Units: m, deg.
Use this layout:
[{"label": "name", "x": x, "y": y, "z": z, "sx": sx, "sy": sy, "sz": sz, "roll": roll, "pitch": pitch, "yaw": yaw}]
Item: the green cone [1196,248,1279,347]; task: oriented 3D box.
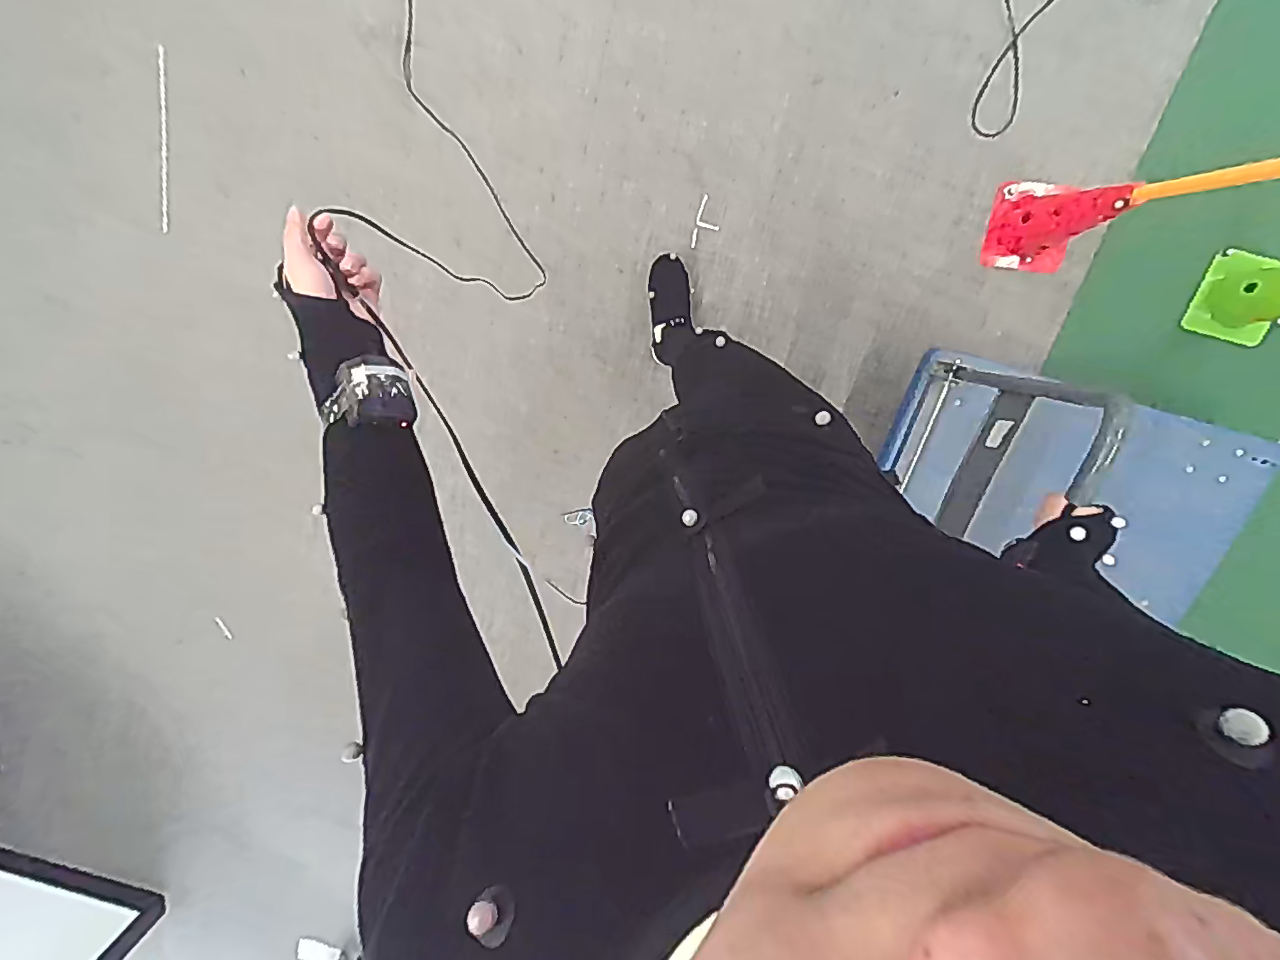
[{"label": "green cone", "x": 1.481, "y": -0.403, "z": 1.158, "sx": 0.202, "sy": 0.368, "sz": 0.200, "roll": 15, "pitch": 105, "yaw": 1}]
